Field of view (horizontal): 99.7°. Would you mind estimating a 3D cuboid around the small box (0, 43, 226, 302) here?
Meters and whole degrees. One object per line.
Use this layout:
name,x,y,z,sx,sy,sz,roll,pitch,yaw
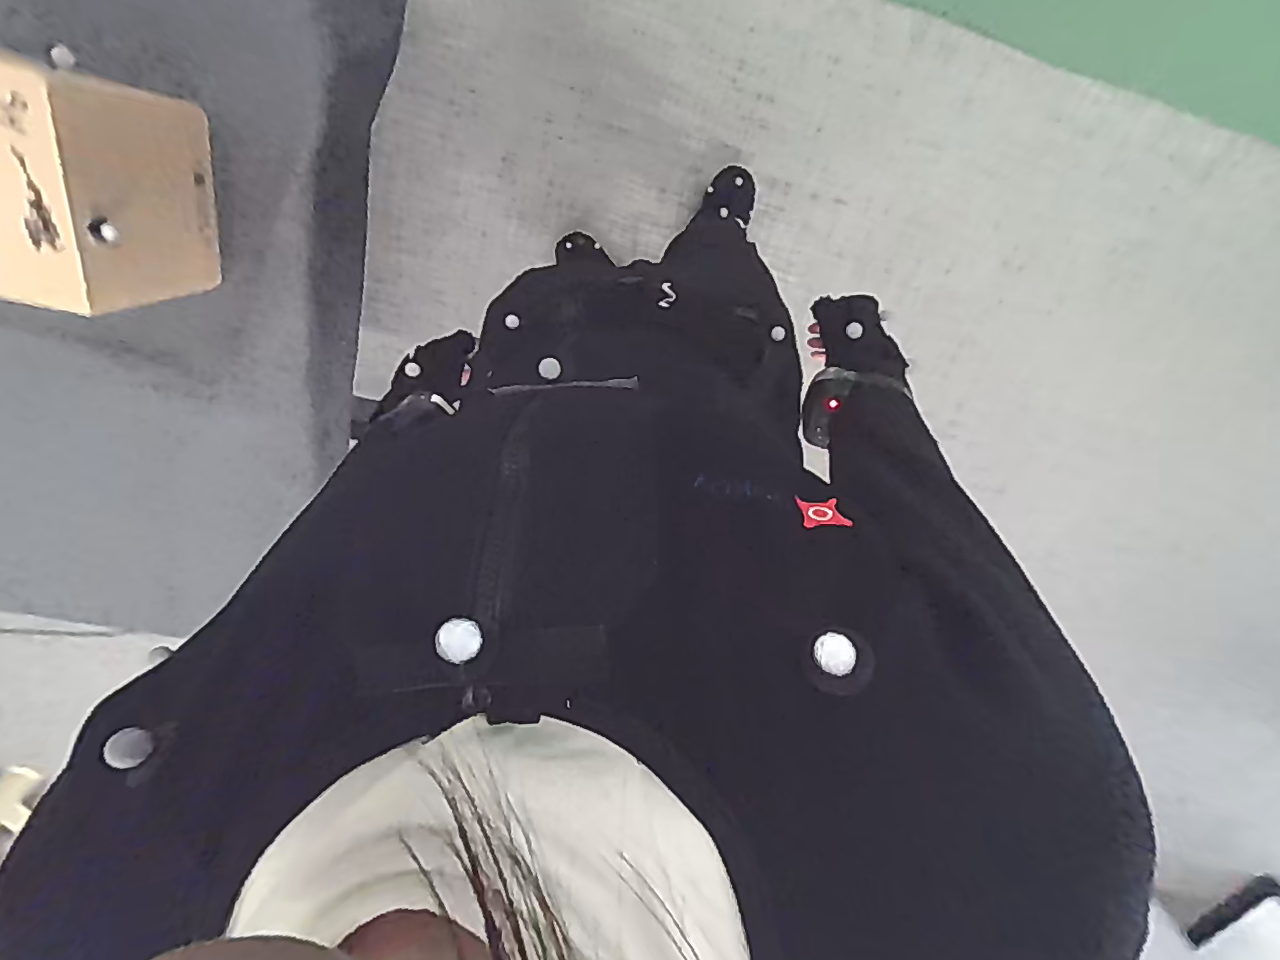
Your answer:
small box,-0.505,-0.267,0.462,0.179,0.176,0.168,12,117,-7
